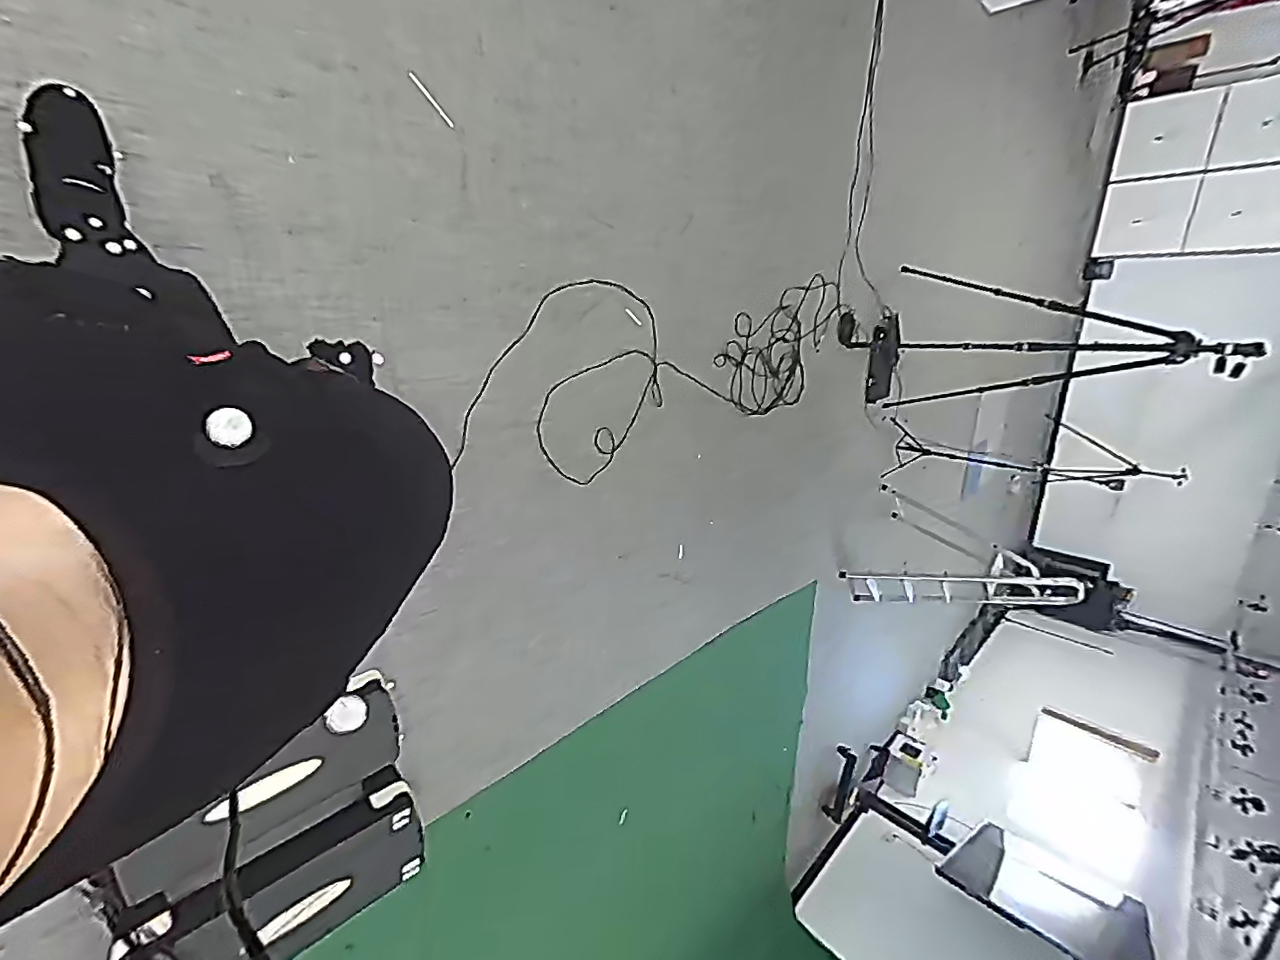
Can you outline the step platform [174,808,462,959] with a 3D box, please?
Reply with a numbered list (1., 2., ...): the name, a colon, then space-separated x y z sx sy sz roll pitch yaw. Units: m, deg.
1. step platform: -0.809 1.160 1.348 0.684 0.204 0.286 -17 114 -43
